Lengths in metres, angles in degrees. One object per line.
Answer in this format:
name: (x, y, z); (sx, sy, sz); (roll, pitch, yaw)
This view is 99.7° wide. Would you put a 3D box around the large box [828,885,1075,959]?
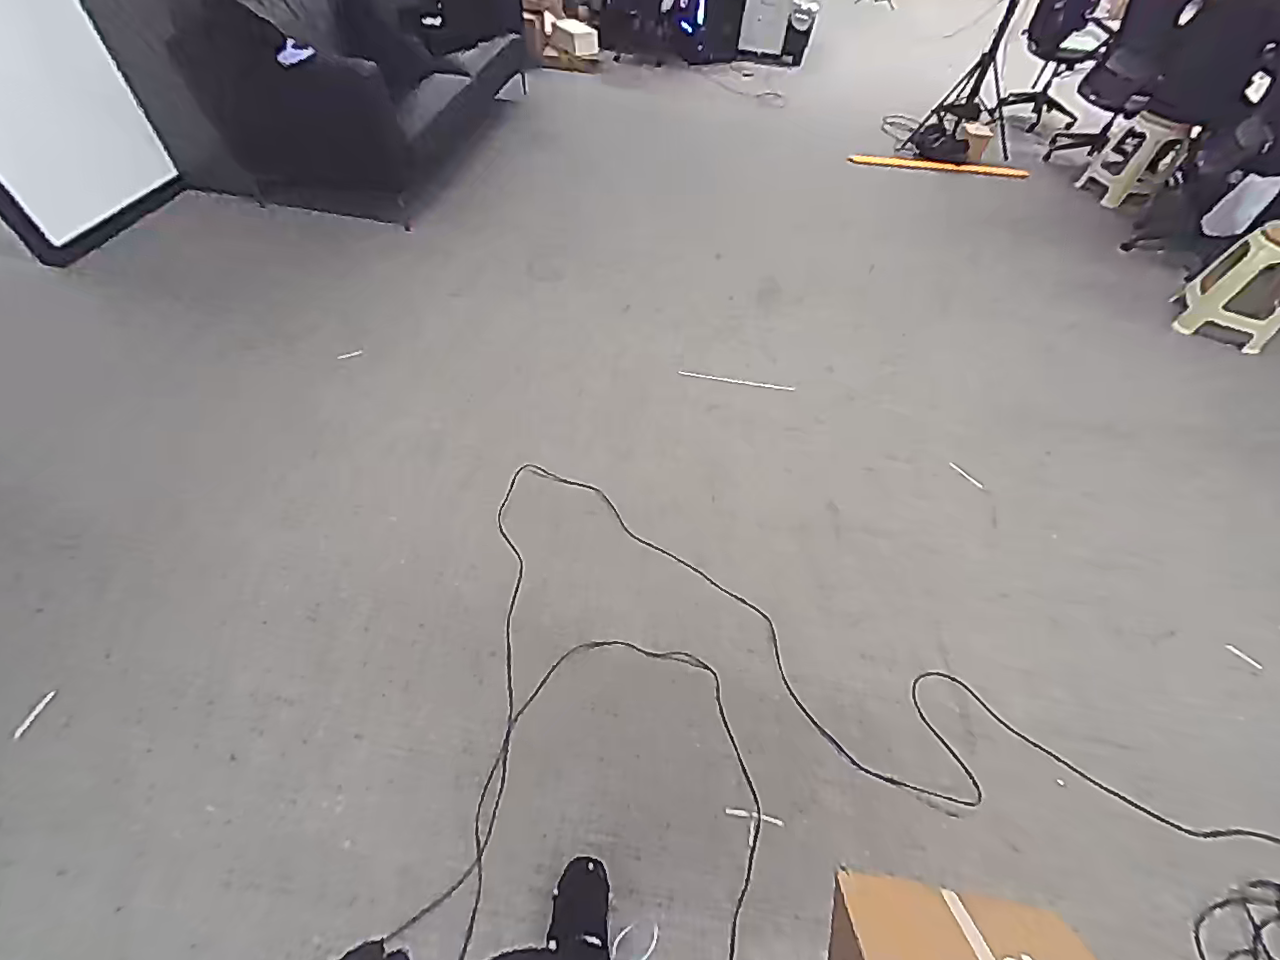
large box: (0.405, 0.773, 0.604); (0.320, 0.408, 0.320); (8, 88, 8)
